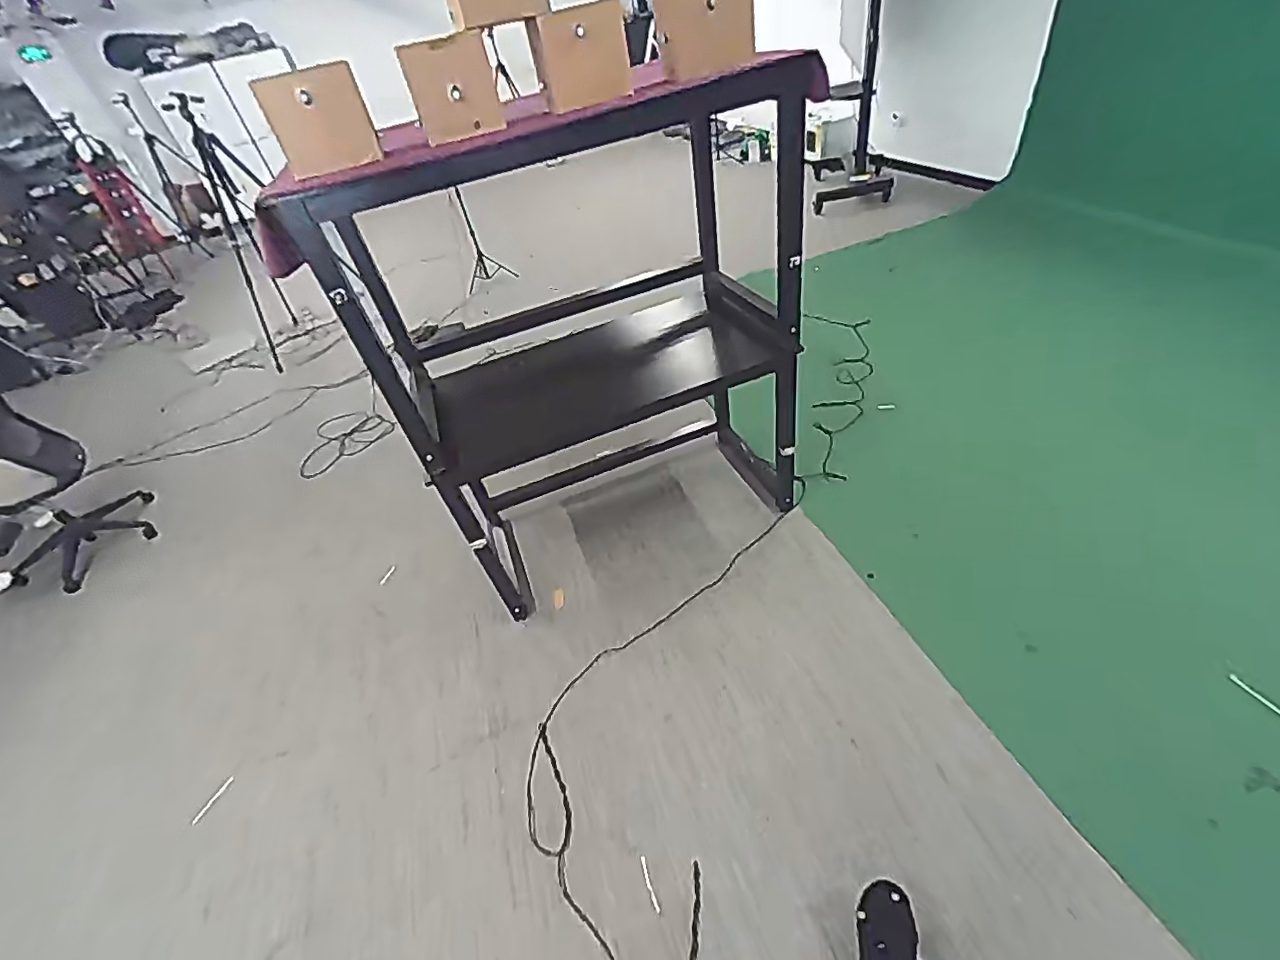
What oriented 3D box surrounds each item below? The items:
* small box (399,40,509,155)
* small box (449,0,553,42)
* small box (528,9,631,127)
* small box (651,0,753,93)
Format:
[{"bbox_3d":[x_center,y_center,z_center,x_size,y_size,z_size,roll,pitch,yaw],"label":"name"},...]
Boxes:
[{"bbox_3d":[-0.388,-0.801,1.138,0.168,0.176,0.179,-20,41,-9],"label":"small box"},{"bbox_3d":[-0.288,-0.974,1.057,0.179,0.176,0.168,-20,40,-11],"label":"small box"},{"bbox_3d":[-0.127,-0.898,1.182,0.179,0.176,0.168,-21,40,-7],"label":"small box"},{"bbox_3d":[0.142,-0.995,1.218,0.179,0.176,0.168,-18,42,-5],"label":"small box"}]
